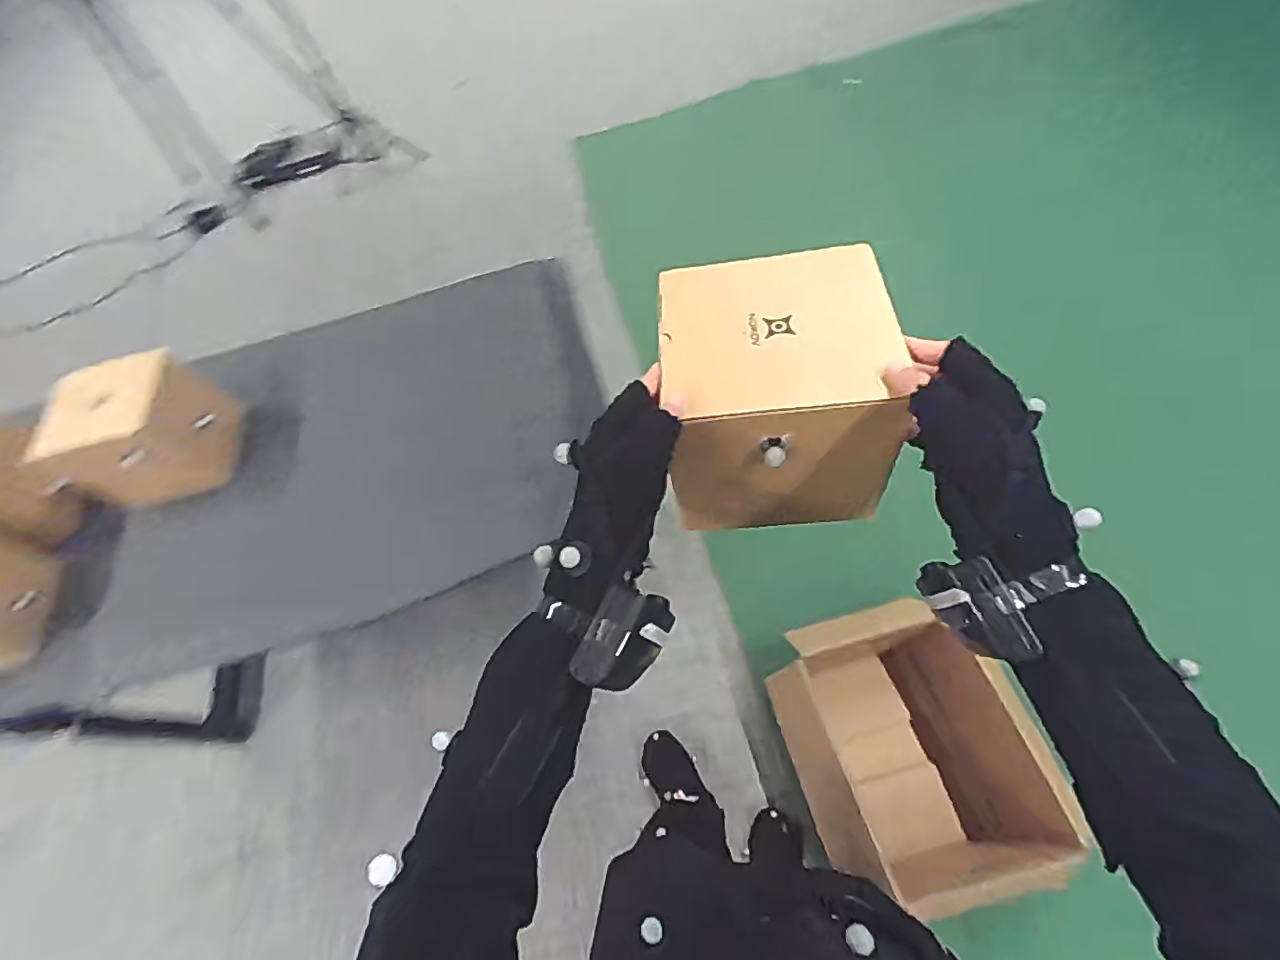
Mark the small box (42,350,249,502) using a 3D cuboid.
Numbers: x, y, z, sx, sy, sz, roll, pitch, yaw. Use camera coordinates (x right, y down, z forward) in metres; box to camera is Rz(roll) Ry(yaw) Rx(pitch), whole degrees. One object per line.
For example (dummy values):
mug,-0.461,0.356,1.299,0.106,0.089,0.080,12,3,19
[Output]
small box,-0.801,-0.084,0.902,0.179,0.176,0.168,-13,60,2
